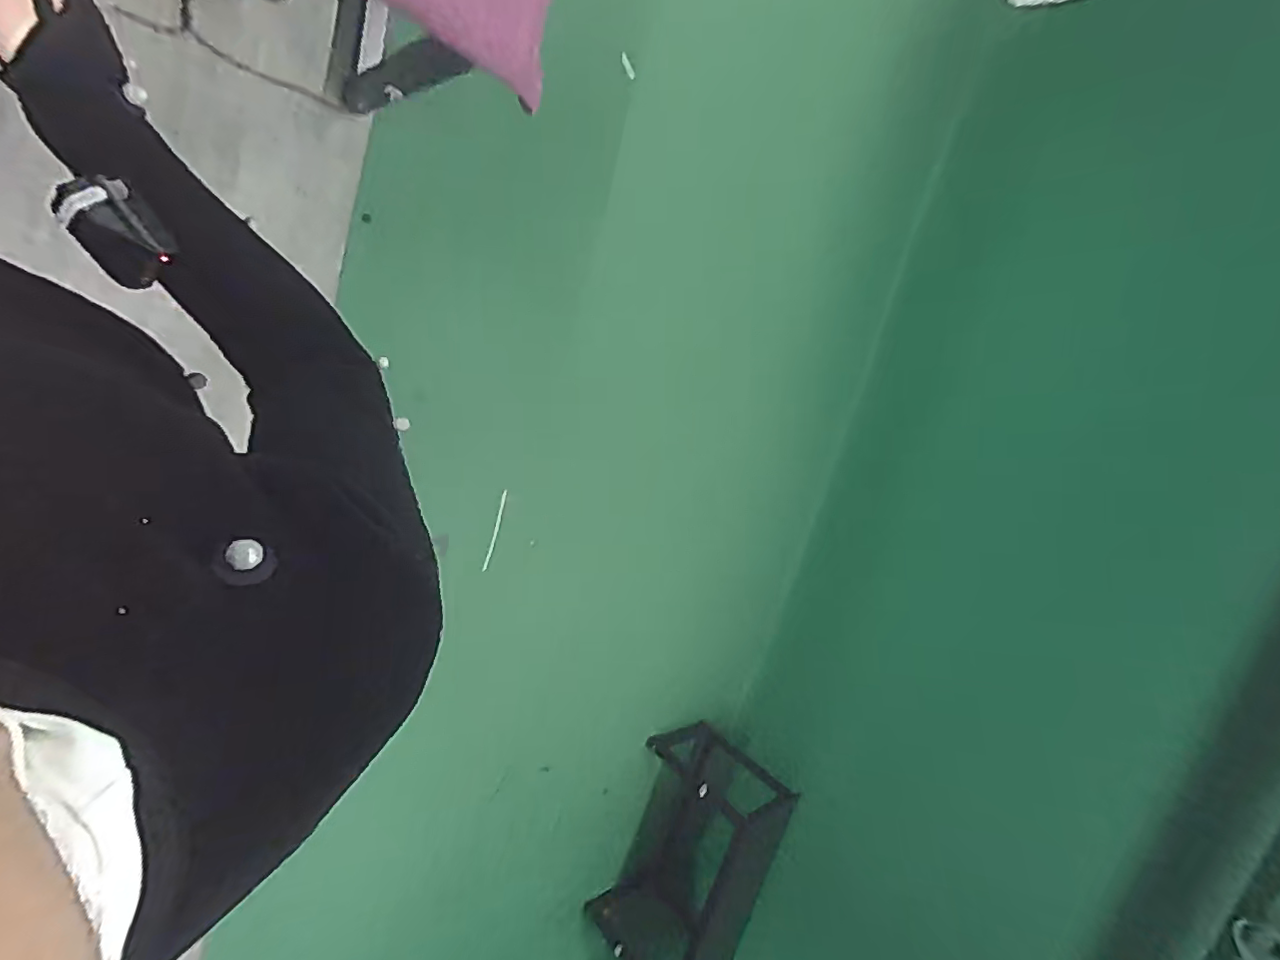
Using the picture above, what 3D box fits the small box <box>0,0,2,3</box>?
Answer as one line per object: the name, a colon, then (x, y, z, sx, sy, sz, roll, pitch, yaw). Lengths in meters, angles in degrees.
small box: (-0.567, -0.459, 0.361, 0.179, 0.176, 0.168, -3, 112, -44)
